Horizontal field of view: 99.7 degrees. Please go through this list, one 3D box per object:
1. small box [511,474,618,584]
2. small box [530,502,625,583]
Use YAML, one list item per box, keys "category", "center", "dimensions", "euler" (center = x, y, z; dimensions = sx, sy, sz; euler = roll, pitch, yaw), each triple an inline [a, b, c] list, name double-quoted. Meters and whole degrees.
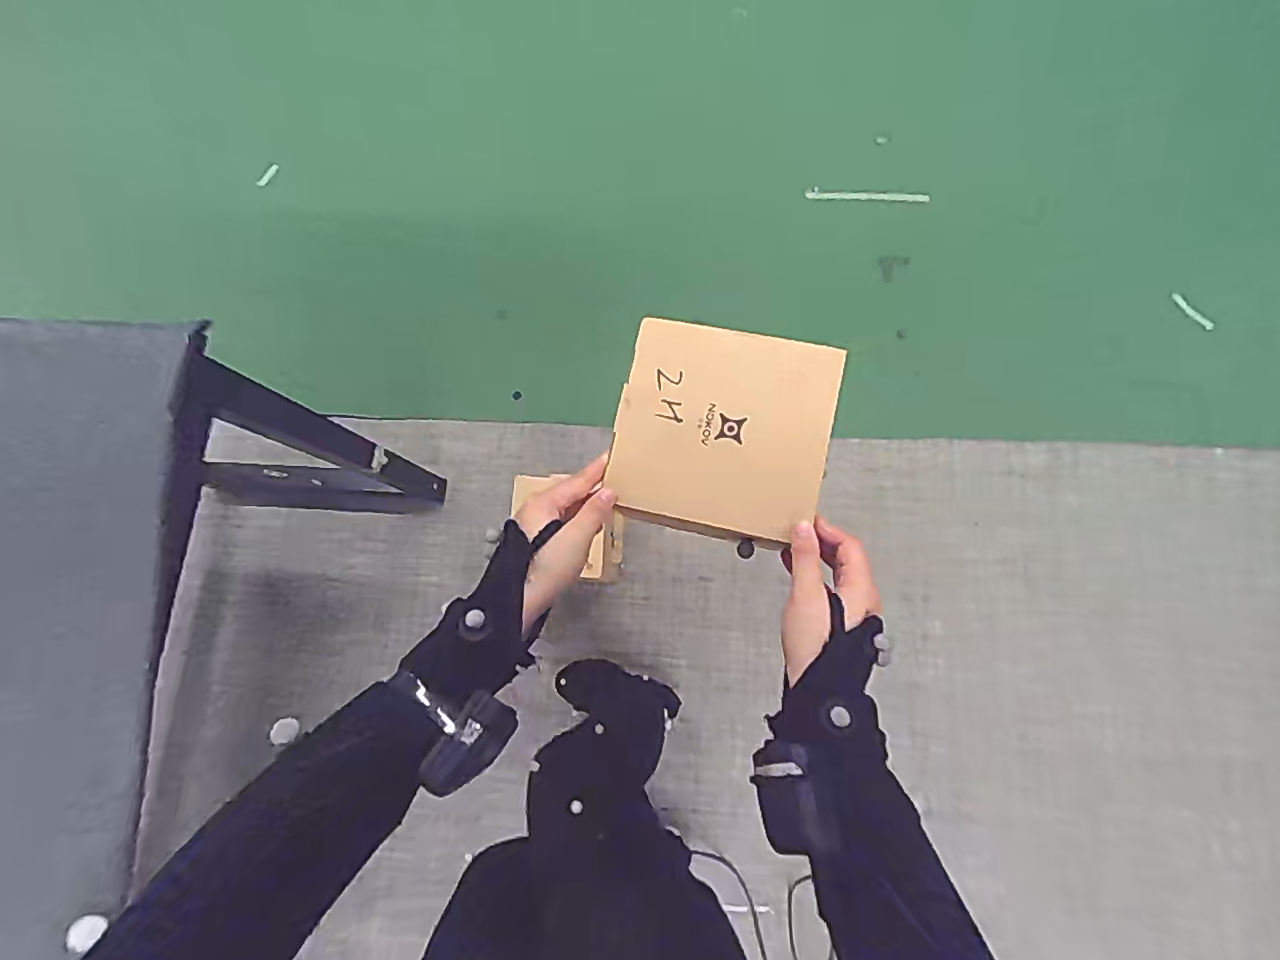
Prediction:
- category: "small box"
  center: [-0.130, 0.097, 1.005]
  dimensions: [0.168, 0.176, 0.179]
  euler: [4, 78, 2]
- category: "small box"
  center: [-0.127, 0.135, 1.166]
  dimensions: [0.179, 0.176, 0.168]
  euler: [1, 78, 4]
